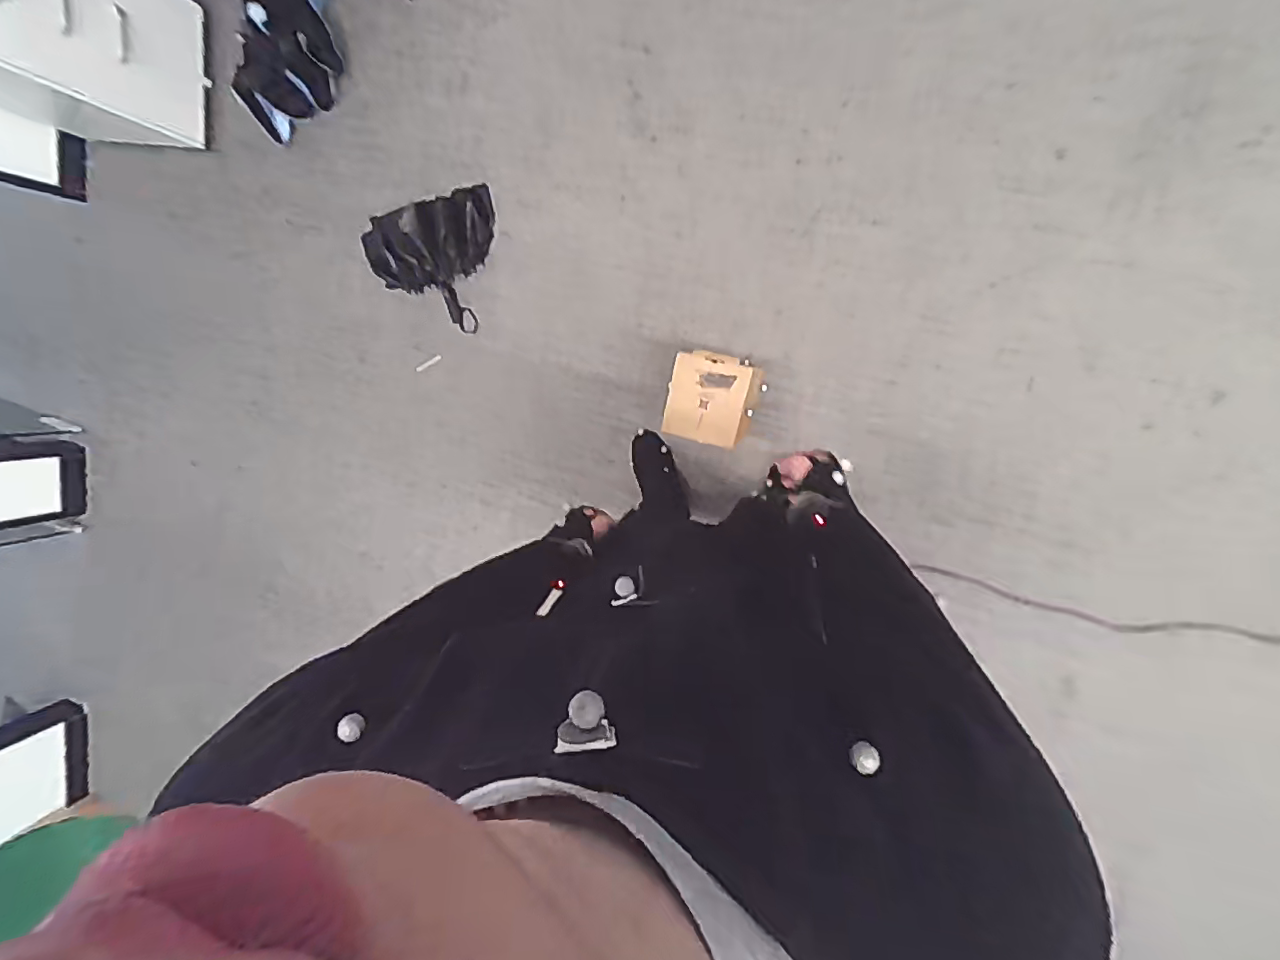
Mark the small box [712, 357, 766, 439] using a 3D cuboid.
[{"bbox_3d":[0.220,-0.214,1.382,0.168,0.176,0.179,14,104,15],"label":"small box"}]

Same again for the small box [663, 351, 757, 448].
[{"bbox_3d":[0.165,-0.185,1.229,0.168,0.176,0.179,16,104,14],"label":"small box"}]
